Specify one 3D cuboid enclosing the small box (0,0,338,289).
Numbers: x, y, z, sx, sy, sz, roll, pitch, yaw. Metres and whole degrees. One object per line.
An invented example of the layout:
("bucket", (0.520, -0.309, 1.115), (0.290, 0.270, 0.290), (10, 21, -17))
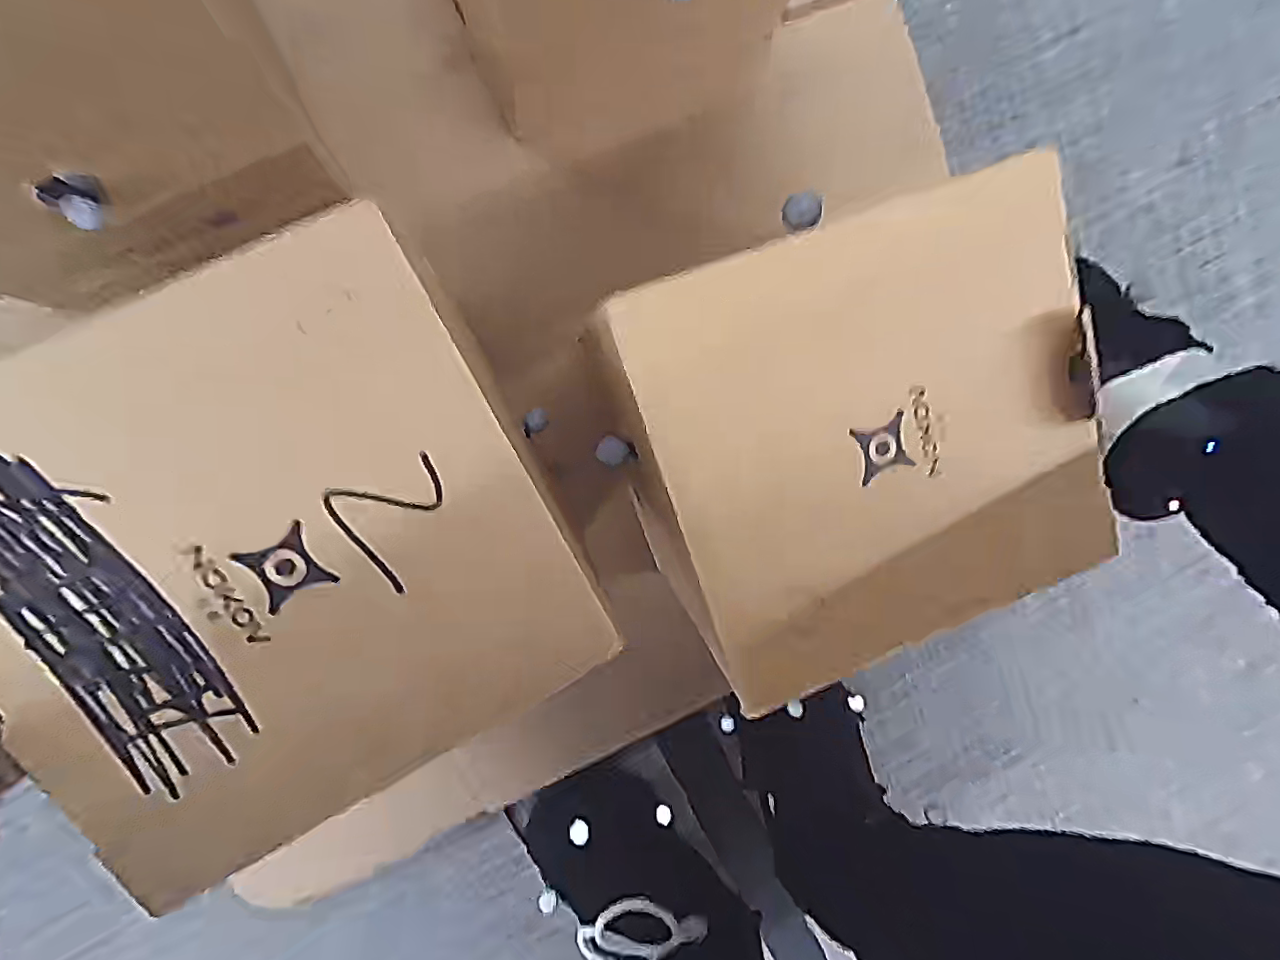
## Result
("small box", (-0.254, -0.190, 0.204), (0.168, 0.176, 0.179), (-25, 98, -7))
